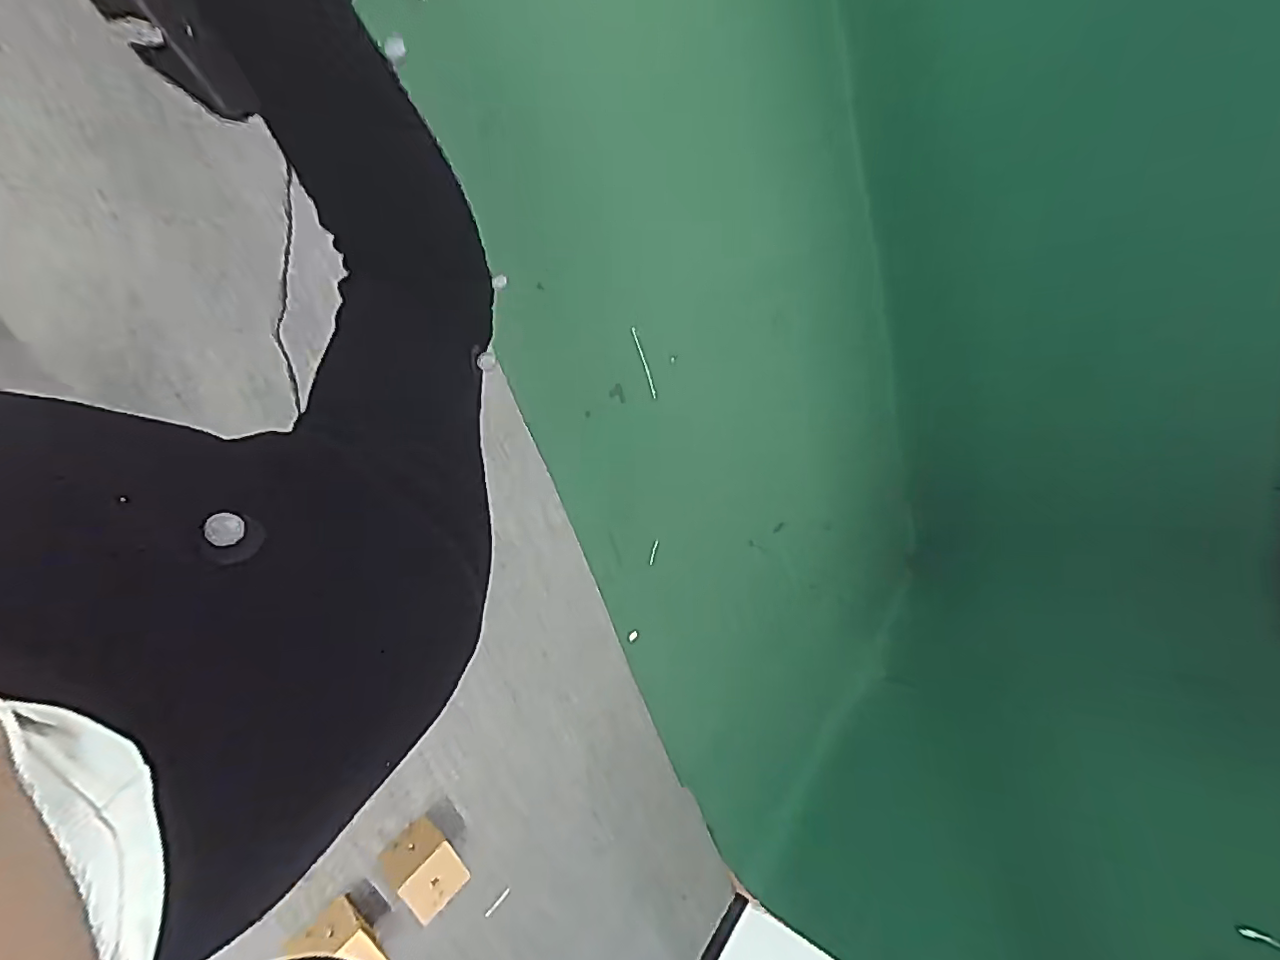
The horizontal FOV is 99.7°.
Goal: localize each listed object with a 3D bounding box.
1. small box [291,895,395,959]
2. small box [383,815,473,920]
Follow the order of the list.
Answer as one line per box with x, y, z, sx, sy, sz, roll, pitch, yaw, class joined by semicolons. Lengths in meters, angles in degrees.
-0.819;1.298;1.487;0.168;0.176;0.179;-38;118;-37;small box
-0.648;1.164;1.644;0.168;0.176;0.179;-37;118;-37;small box
